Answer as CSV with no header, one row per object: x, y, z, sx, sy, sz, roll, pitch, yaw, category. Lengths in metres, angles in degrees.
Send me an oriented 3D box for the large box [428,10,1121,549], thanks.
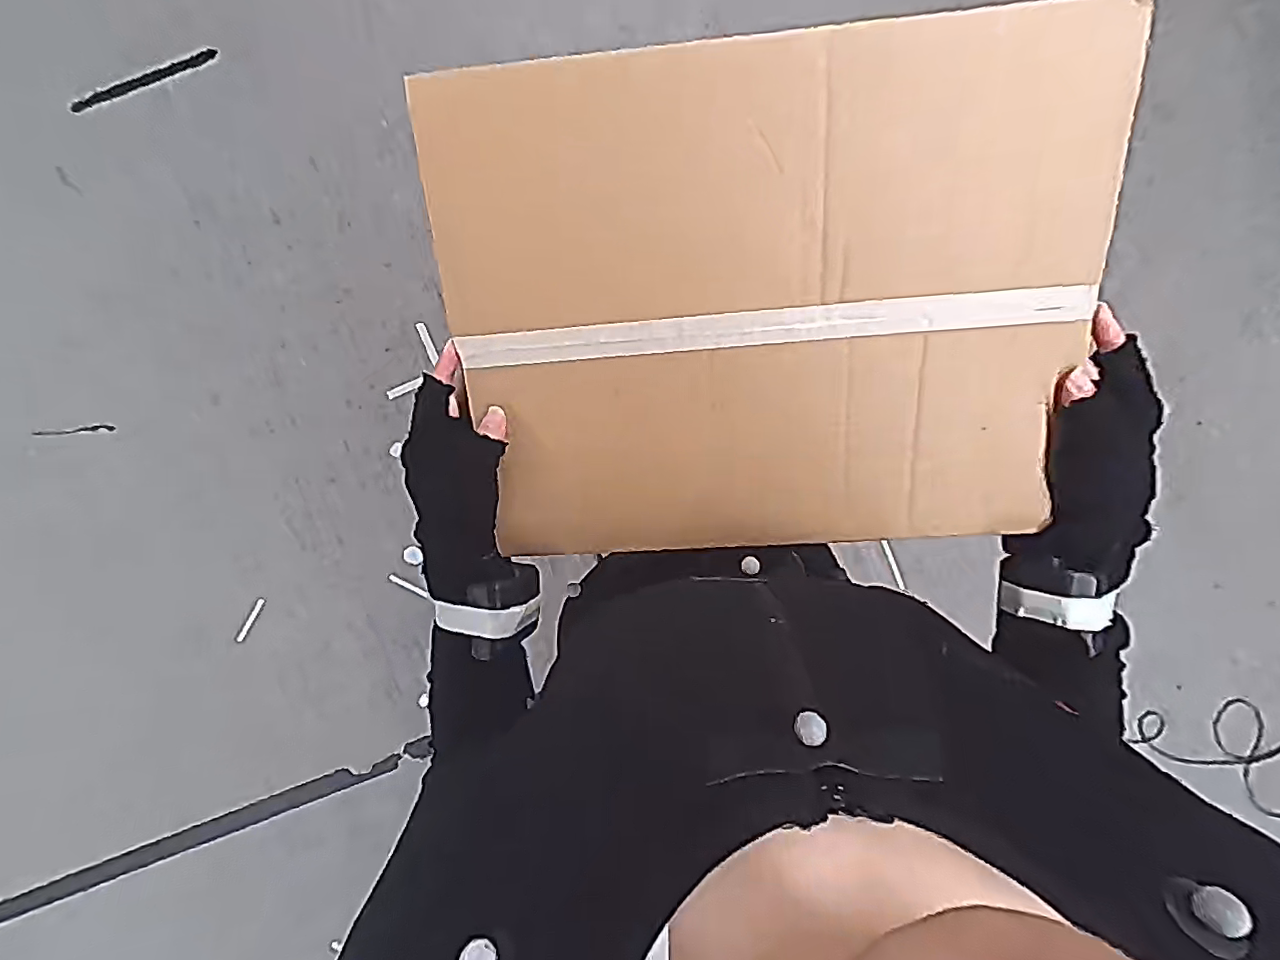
0.086,-0.151,0.499,0.408,0.320,0.320,-3,111,4,large box
